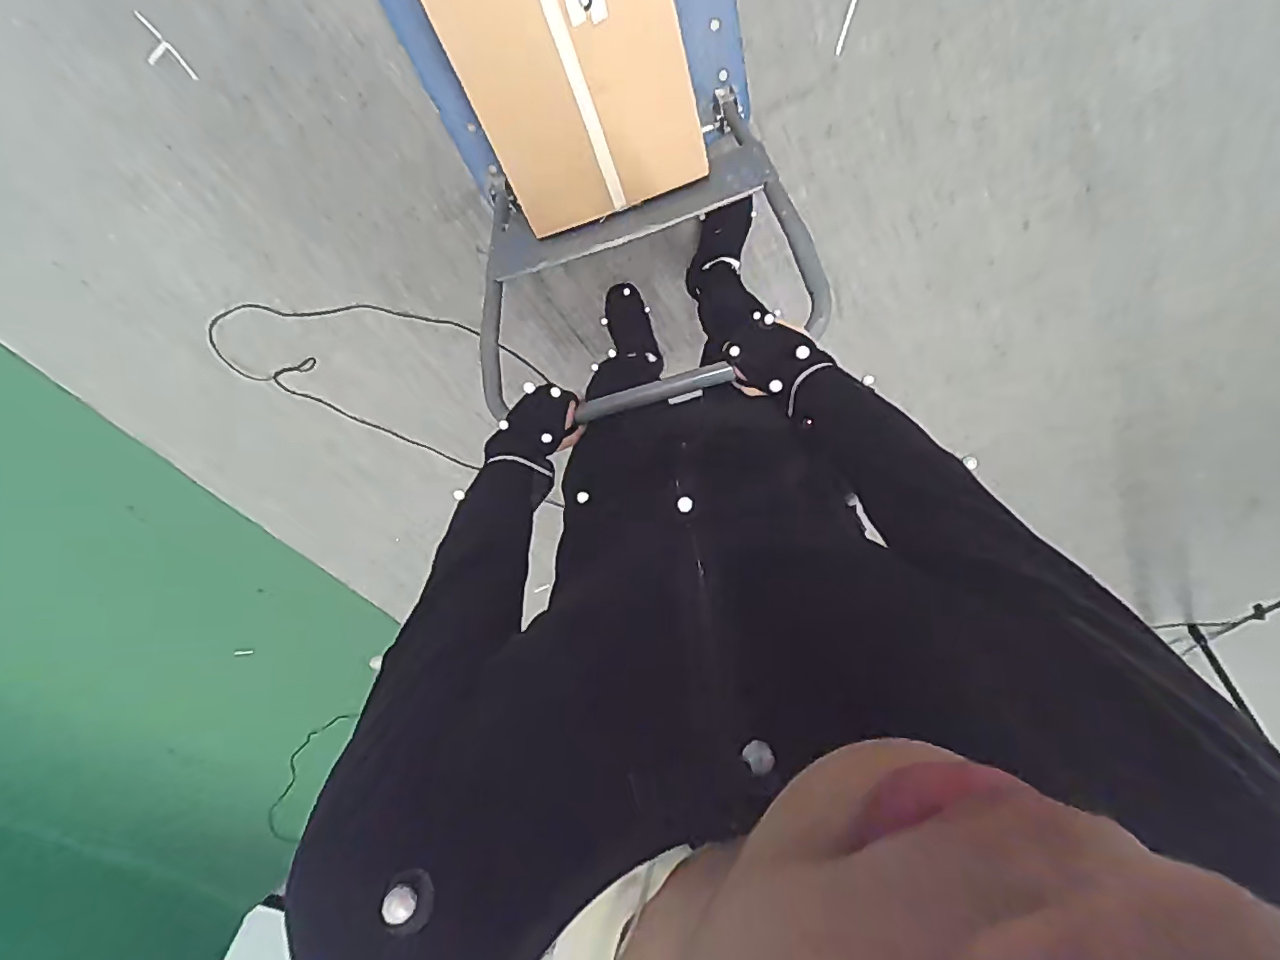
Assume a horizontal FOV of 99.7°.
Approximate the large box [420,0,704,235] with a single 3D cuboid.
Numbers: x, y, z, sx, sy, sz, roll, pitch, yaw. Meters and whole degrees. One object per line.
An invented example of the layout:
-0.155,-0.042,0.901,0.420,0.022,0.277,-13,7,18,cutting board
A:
-0.107,-0.701,0.880,0.320,0.320,0.408,-15,138,11,large box
